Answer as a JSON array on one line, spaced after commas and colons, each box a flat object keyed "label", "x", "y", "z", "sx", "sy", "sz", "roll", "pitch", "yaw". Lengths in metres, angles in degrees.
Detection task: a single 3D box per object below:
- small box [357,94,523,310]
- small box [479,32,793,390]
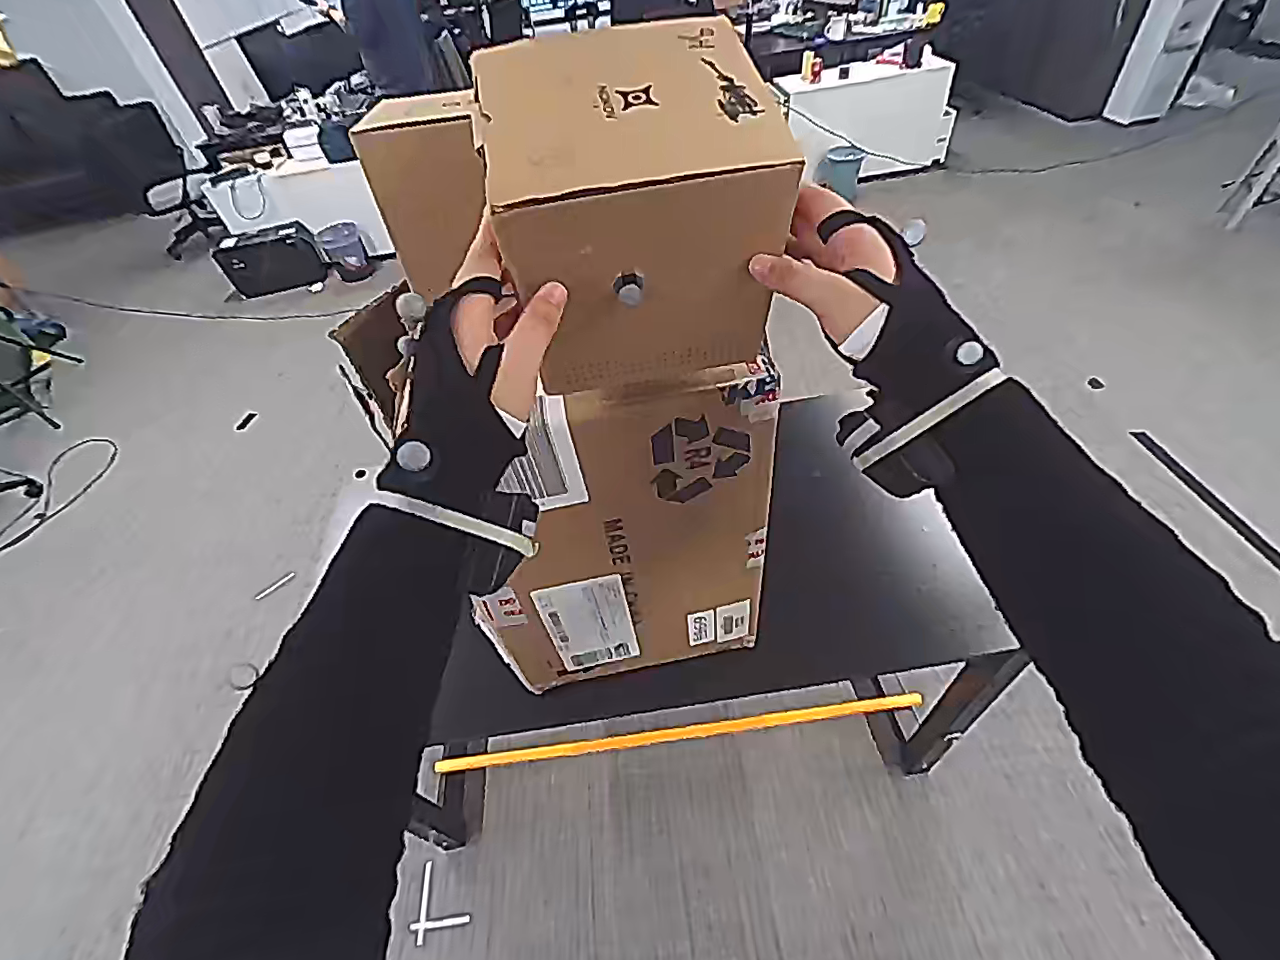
[{"label": "small box", "x": -0.173, "y": -0.310, "z": 0.599, "sx": 0.179, "sy": 0.176, "sz": 0.168, "roll": -11, "pitch": 43, "yaw": -3}, {"label": "small box", "x": -0.007, "y": -0.188, "z": 0.408, "sx": 0.179, "sy": 0.176, "sz": 0.168, "roll": -12, "pitch": 62, "yaw": -3}]
